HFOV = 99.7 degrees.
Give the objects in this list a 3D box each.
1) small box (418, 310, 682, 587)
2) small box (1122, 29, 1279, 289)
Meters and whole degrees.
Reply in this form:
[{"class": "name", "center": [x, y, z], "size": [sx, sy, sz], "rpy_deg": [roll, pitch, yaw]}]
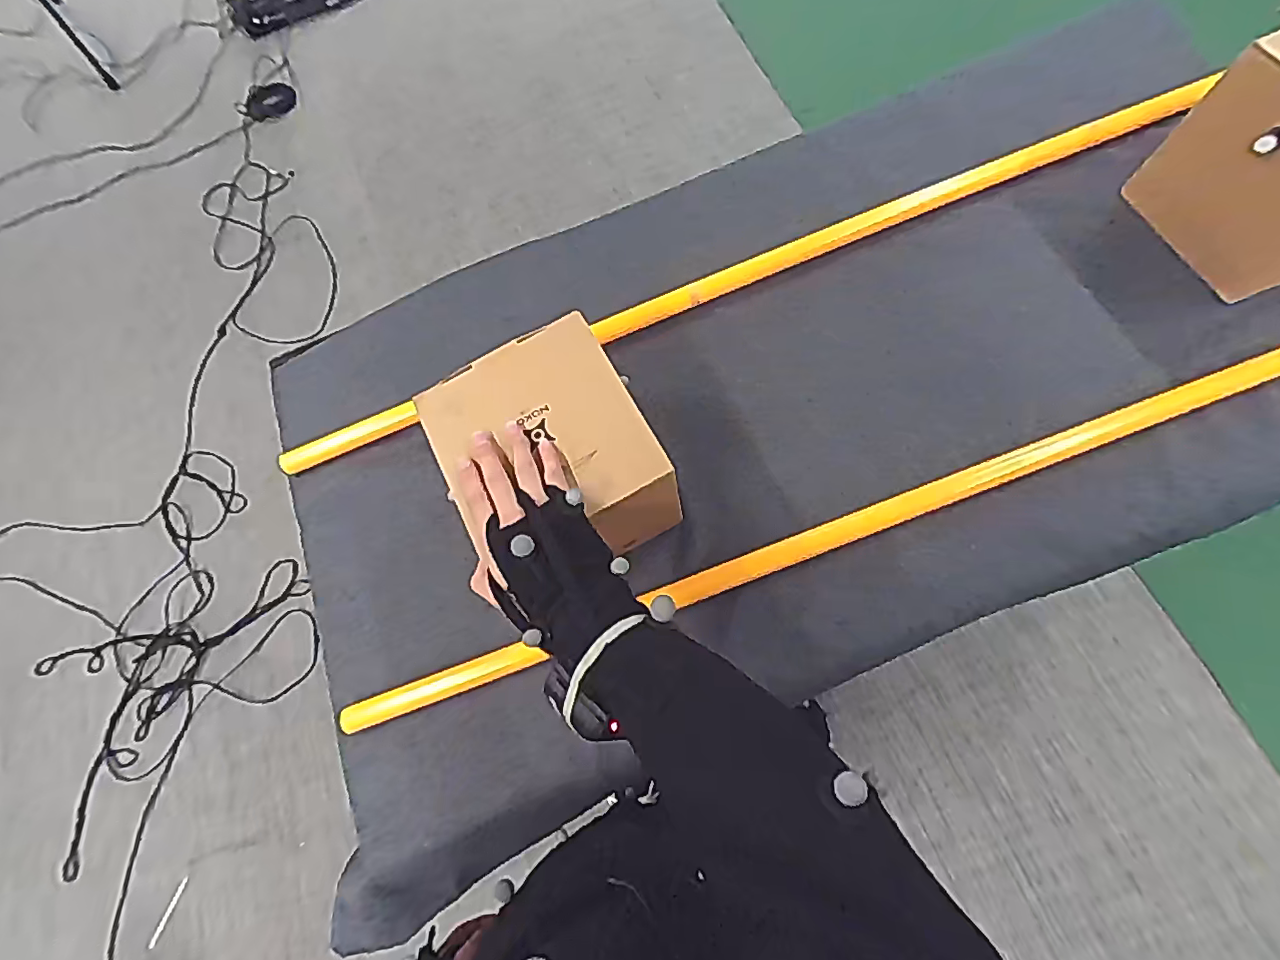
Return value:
[{"class": "small box", "center": [-0.072, -0.017, 0.516], "size": [0.168, 0.176, 0.179], "rpy_deg": [-30, 71, -3]}, {"class": "small box", "center": [0.645, -0.314, 0.522], "size": [0.168, 0.176, 0.179], "rpy_deg": [-22, 70, 0]}]
